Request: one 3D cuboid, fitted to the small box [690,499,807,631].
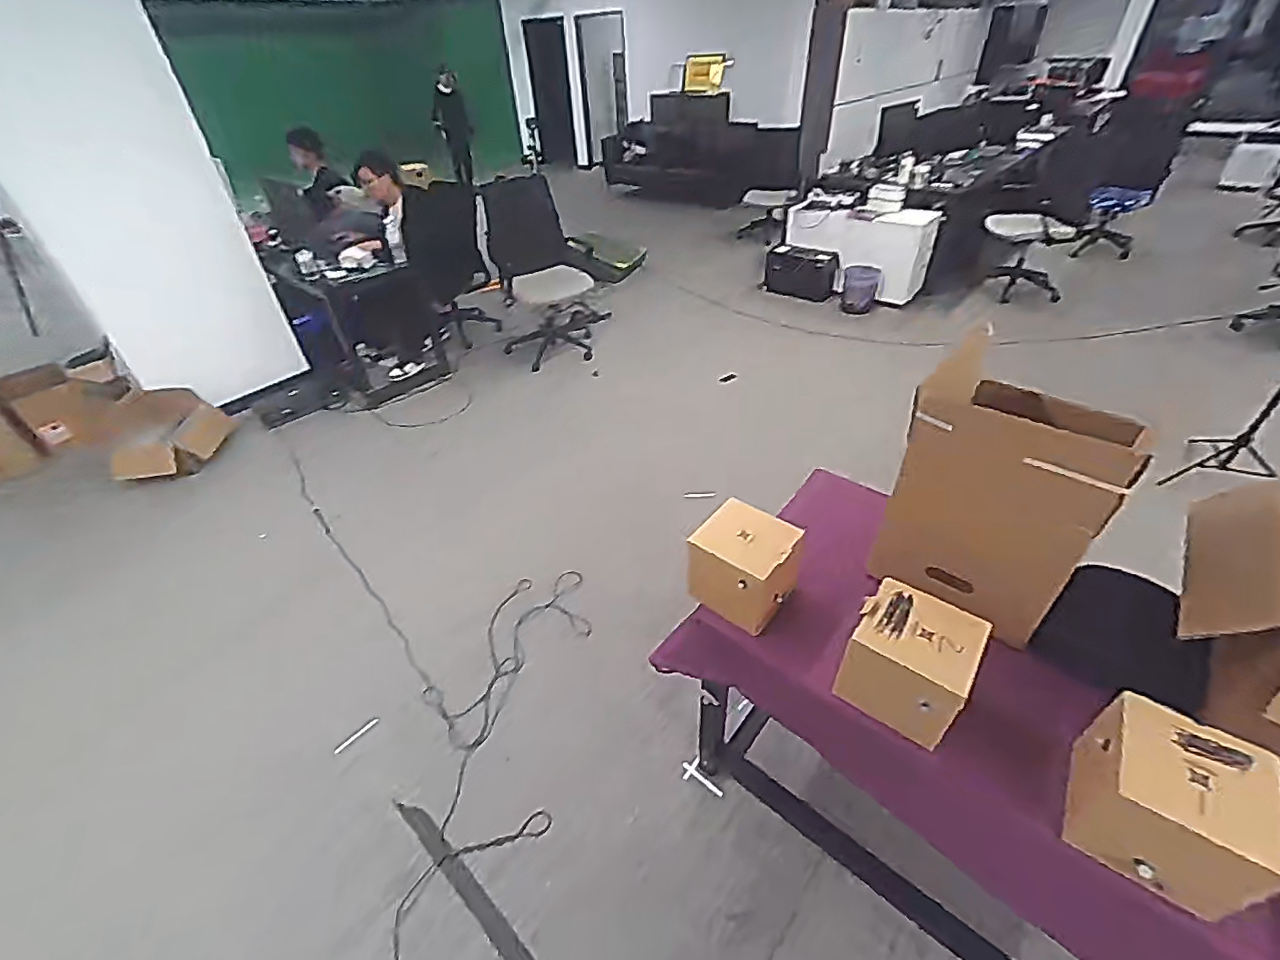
[{"bbox_3d":[0.214,0.174,1.111,0.179,0.176,0.168,27,47,31],"label":"small box"}]

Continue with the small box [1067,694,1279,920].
[{"bbox_3d":[0.721,0.441,0.738,0.168,0.176,0.179,23,46,30],"label":"small box"}]
